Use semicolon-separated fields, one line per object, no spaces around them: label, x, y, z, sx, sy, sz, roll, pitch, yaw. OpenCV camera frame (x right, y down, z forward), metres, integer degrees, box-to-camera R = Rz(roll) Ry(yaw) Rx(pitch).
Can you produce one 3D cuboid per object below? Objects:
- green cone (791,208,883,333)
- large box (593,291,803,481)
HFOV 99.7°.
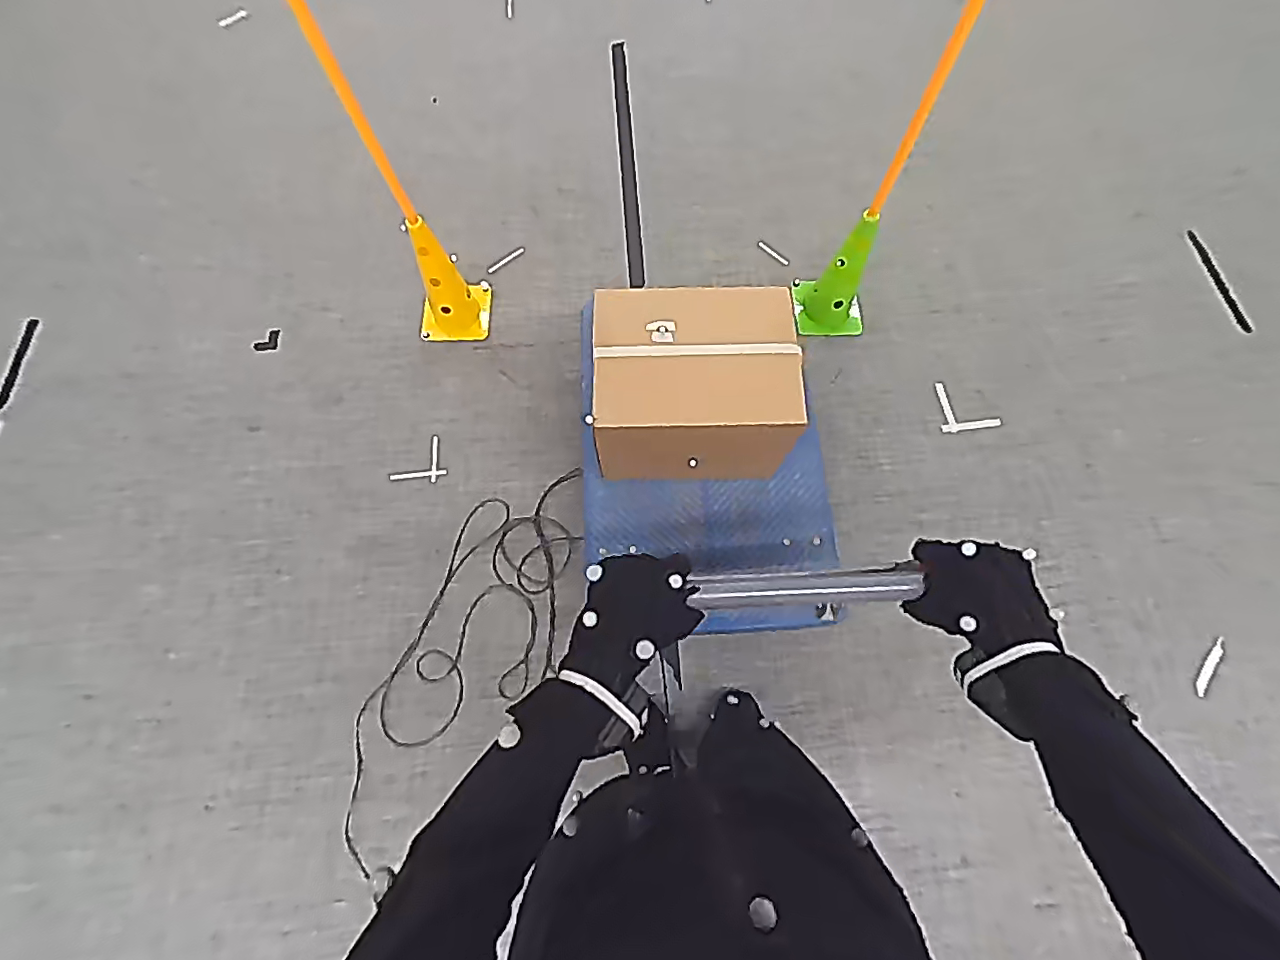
green cone;0.576;-0.596;1.507;0.202;0.368;0.200;0;70;-1
large box;0.109;-0.190;1.206;0.408;0.320;0.320;-1;70;0
